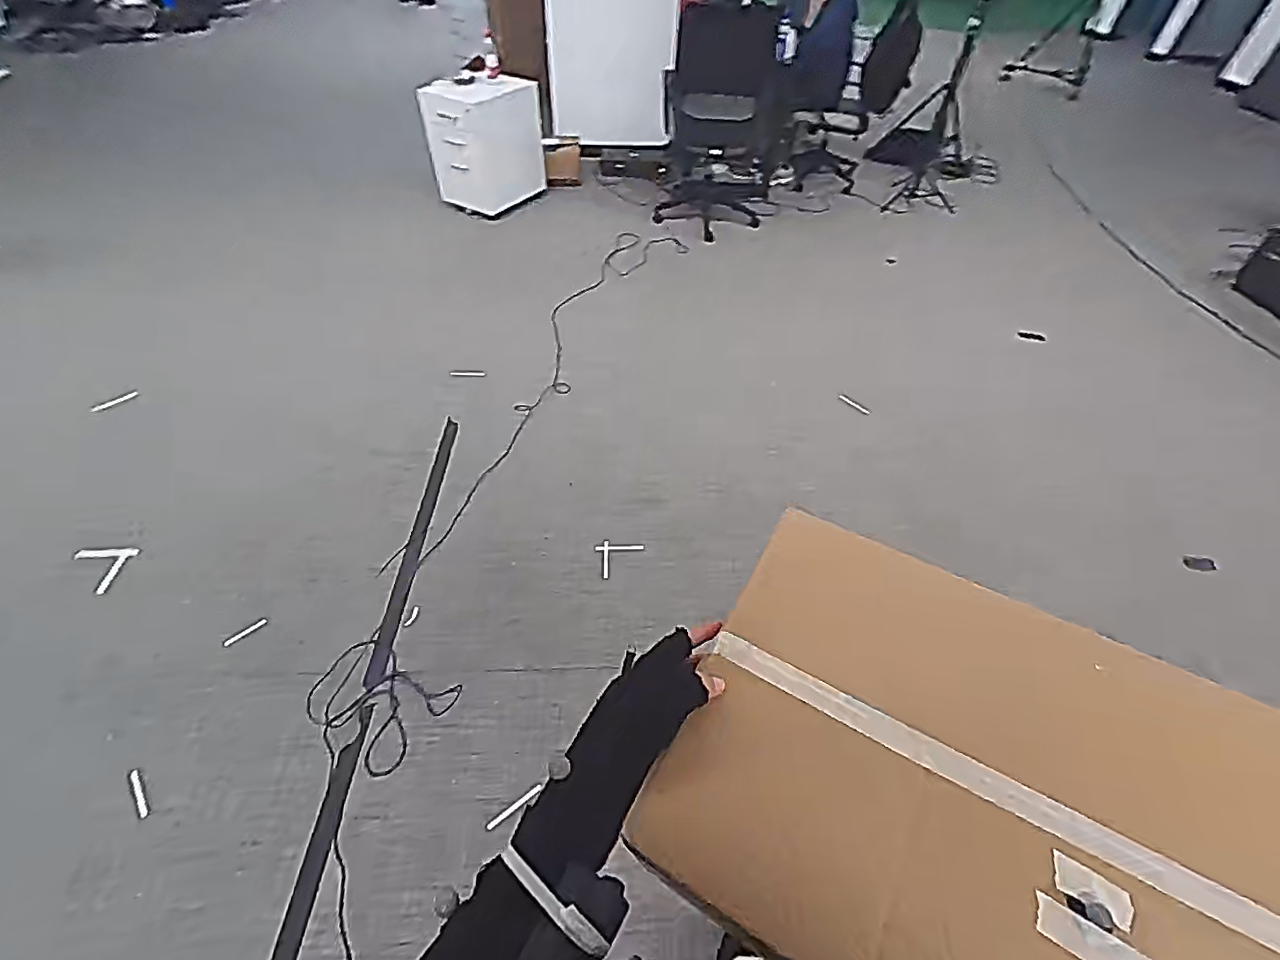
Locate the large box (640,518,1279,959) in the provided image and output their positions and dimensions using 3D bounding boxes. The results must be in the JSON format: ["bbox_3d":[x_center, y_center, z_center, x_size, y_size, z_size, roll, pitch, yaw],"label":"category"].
[{"bbox_3d":[0.248,0.304,0.506,0.408,0.320,0.320,24,58,20],"label":"large box"}]
